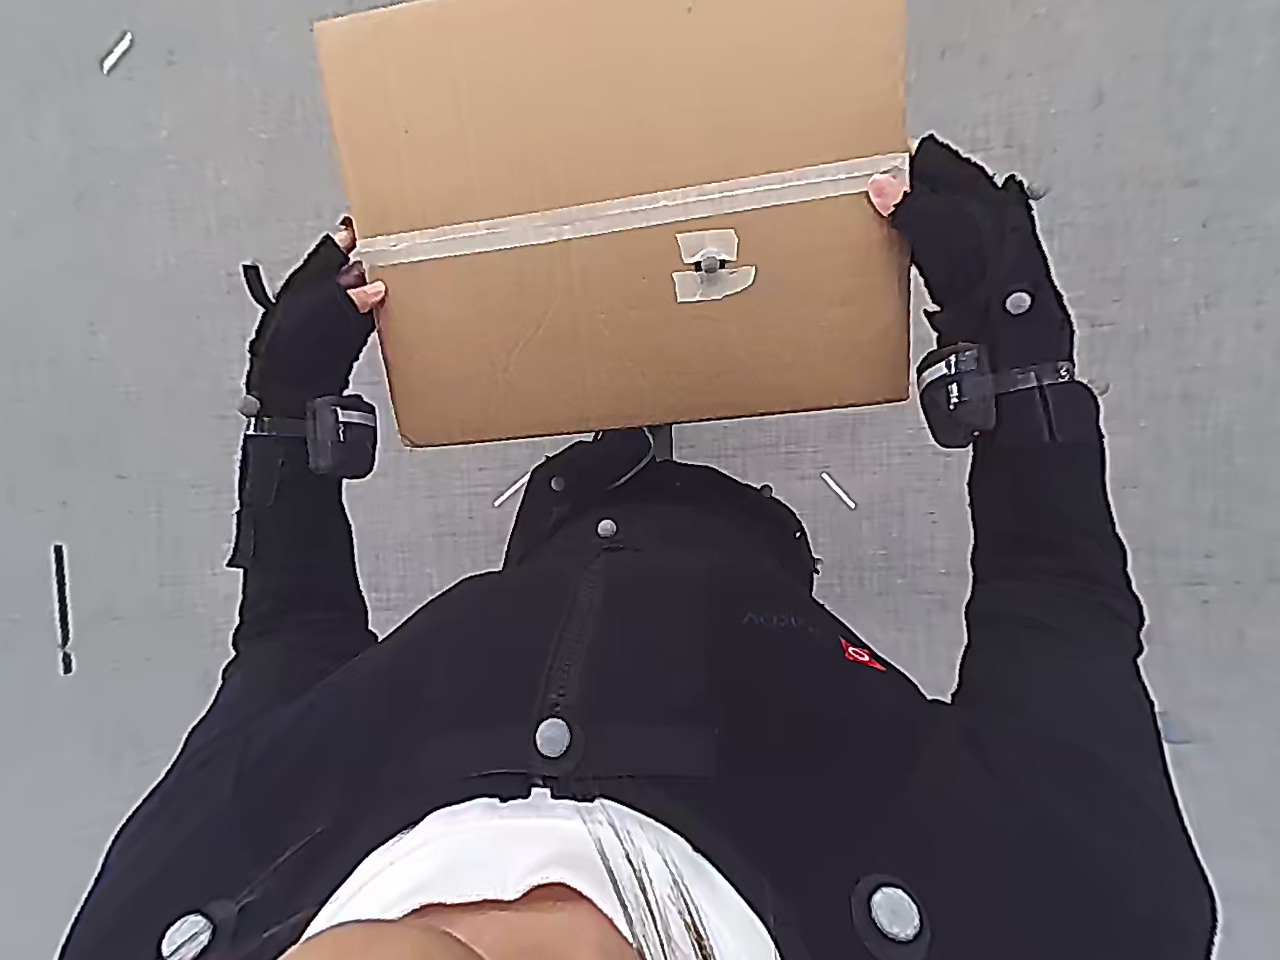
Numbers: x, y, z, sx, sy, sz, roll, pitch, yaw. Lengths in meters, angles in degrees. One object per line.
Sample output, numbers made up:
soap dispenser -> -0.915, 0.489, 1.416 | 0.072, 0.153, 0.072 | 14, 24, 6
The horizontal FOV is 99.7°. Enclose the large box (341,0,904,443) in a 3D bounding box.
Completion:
large box -> 0.002, -0.233, 0.554 | 0.408, 0.320, 0.320 | -6, 103, 7
